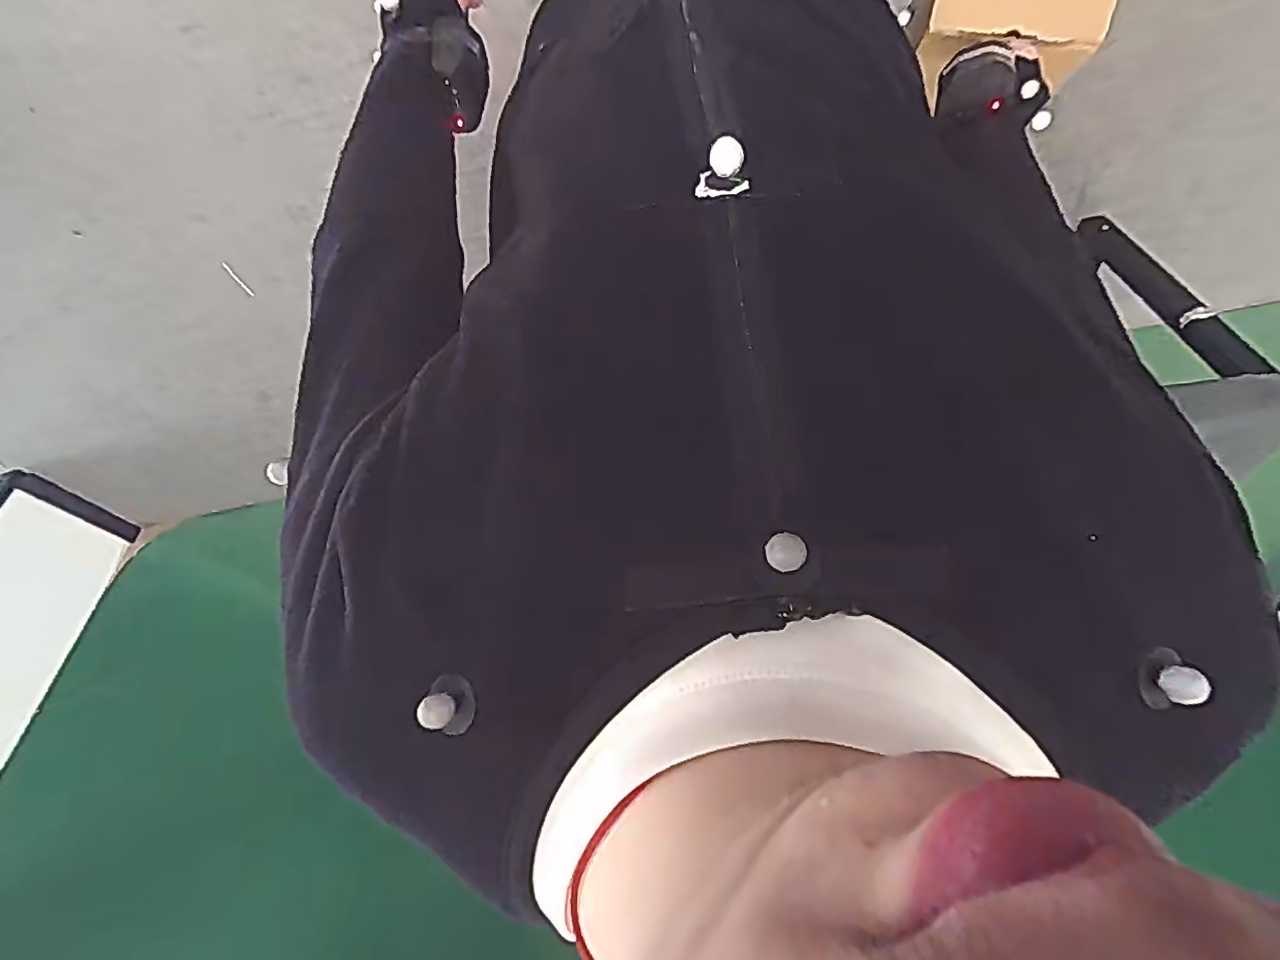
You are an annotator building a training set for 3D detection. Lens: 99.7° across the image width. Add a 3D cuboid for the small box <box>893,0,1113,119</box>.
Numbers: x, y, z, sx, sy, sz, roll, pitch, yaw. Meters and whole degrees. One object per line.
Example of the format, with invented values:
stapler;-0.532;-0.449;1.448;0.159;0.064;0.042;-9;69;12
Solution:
small box;0.400;-0.536;0.597;0.168;0.176;0.179;14;102;8
